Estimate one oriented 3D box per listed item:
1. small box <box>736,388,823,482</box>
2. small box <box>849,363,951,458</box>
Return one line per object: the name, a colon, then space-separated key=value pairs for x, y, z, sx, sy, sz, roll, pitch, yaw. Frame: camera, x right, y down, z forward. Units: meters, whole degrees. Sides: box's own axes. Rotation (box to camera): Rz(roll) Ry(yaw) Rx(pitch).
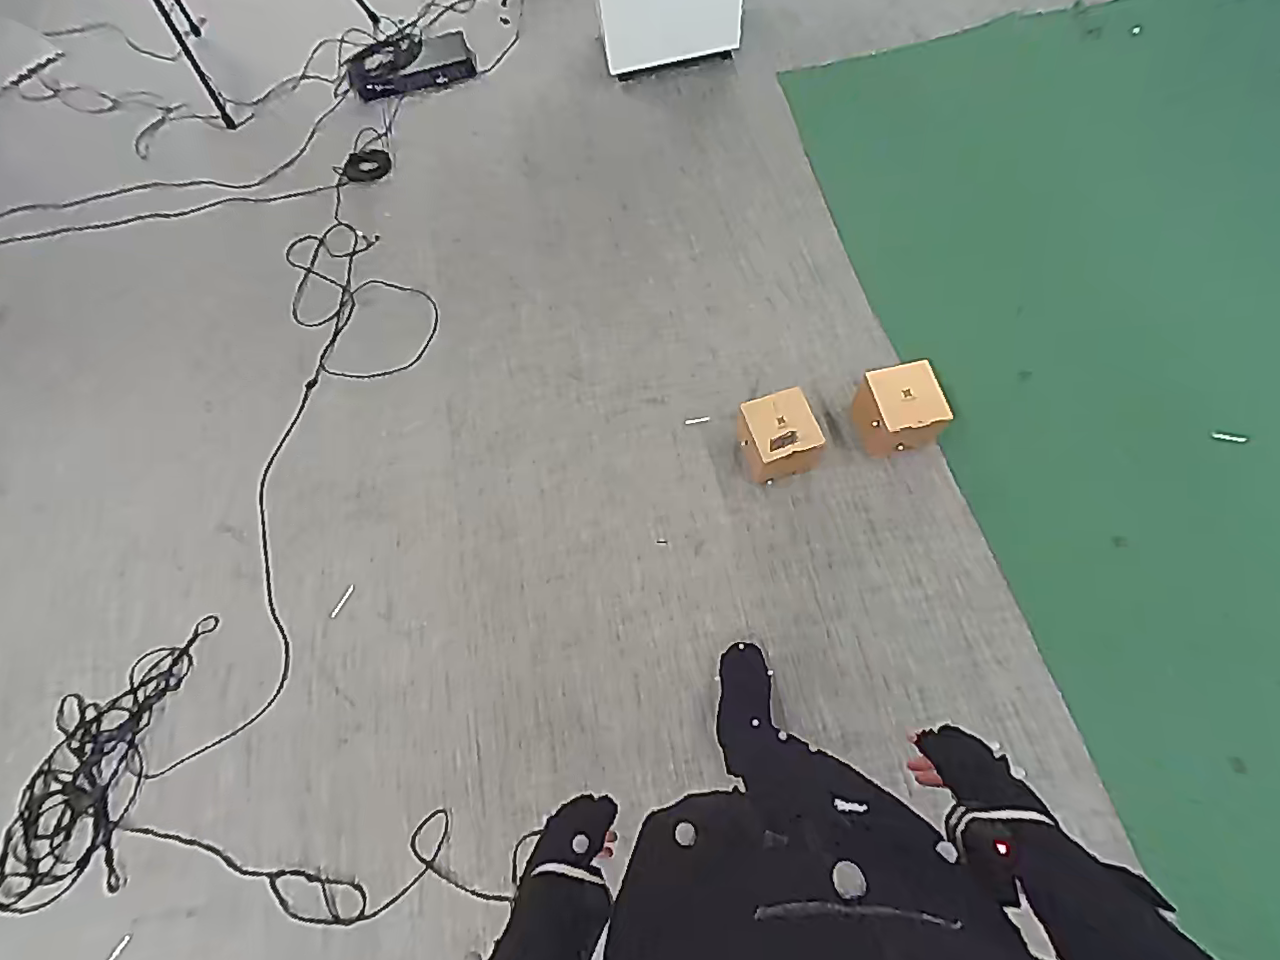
small box: x=0.363 y=-0.110 z=1.437 sx=0.168 sy=0.176 sz=0.179 roll=-16 pitch=67 yaw=-2
small box: x=0.679 y=-0.180 z=1.437 sx=0.168 sy=0.176 sz=0.179 roll=-12 pitch=68 yaw=1
